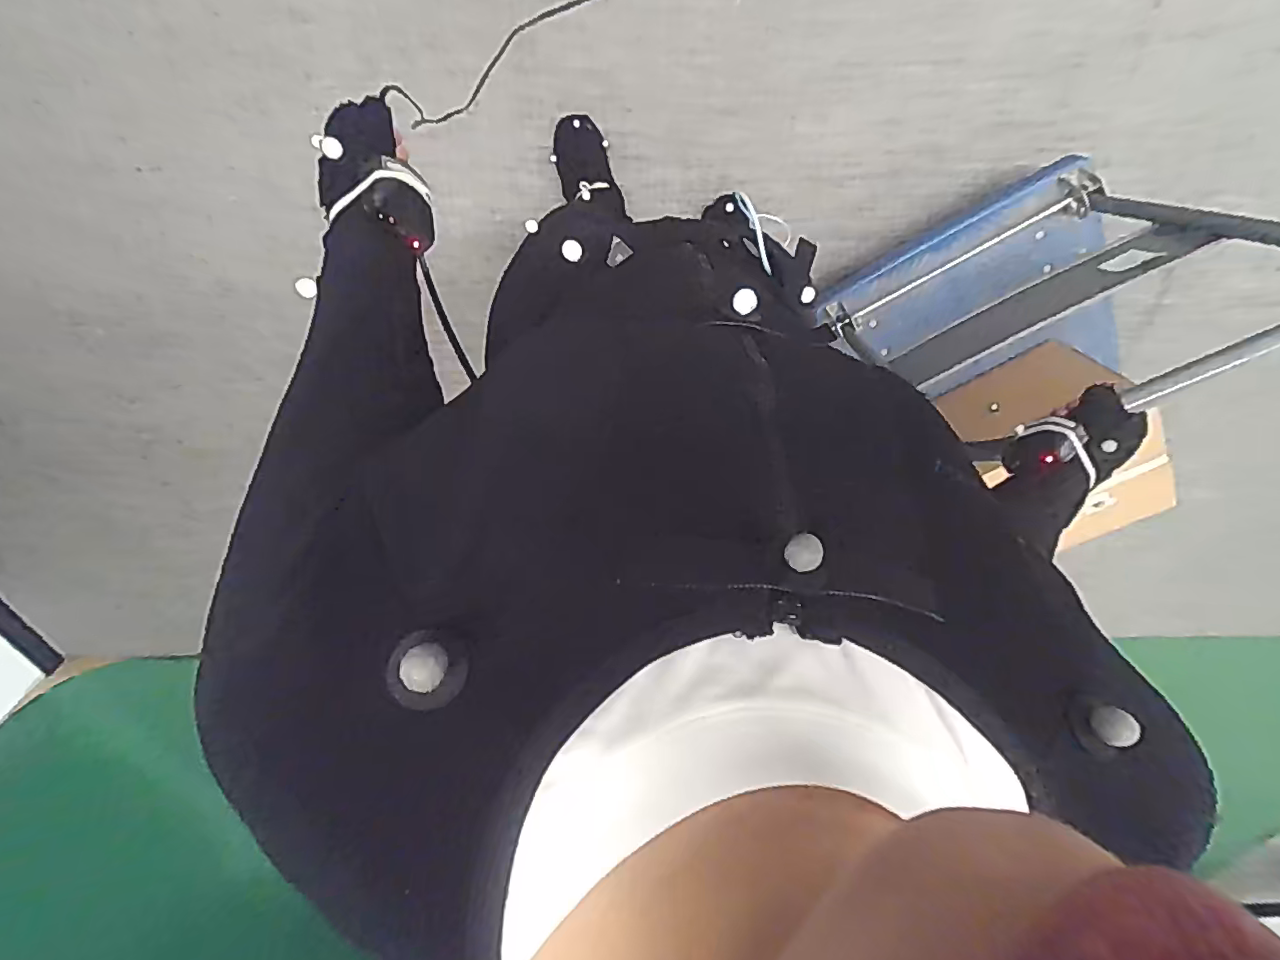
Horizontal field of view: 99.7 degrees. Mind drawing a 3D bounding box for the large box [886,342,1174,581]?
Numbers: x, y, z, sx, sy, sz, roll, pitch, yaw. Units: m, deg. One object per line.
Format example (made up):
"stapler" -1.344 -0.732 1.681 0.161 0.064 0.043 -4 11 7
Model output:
"large box" 0.867 -0.043 1.250 0.408 0.320 0.320 -31 120 19
